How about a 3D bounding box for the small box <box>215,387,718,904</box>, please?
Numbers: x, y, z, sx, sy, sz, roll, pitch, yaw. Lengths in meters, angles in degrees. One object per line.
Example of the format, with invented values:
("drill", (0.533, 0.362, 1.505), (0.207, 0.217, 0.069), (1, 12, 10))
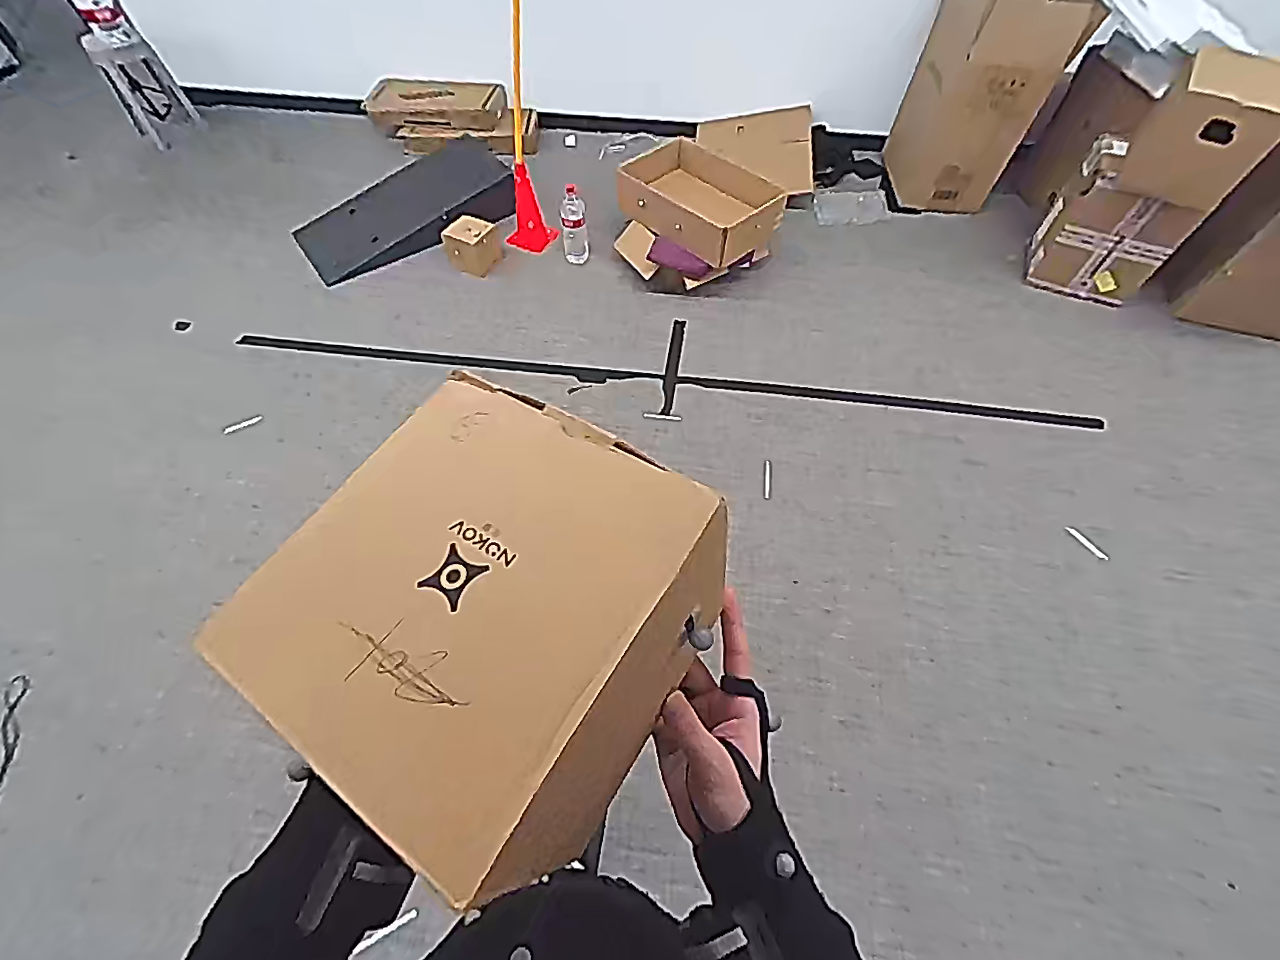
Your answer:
("small box", (-0.068, 0.085, 0.311), (0.168, 0.176, 0.179), (26, 67, 22))
